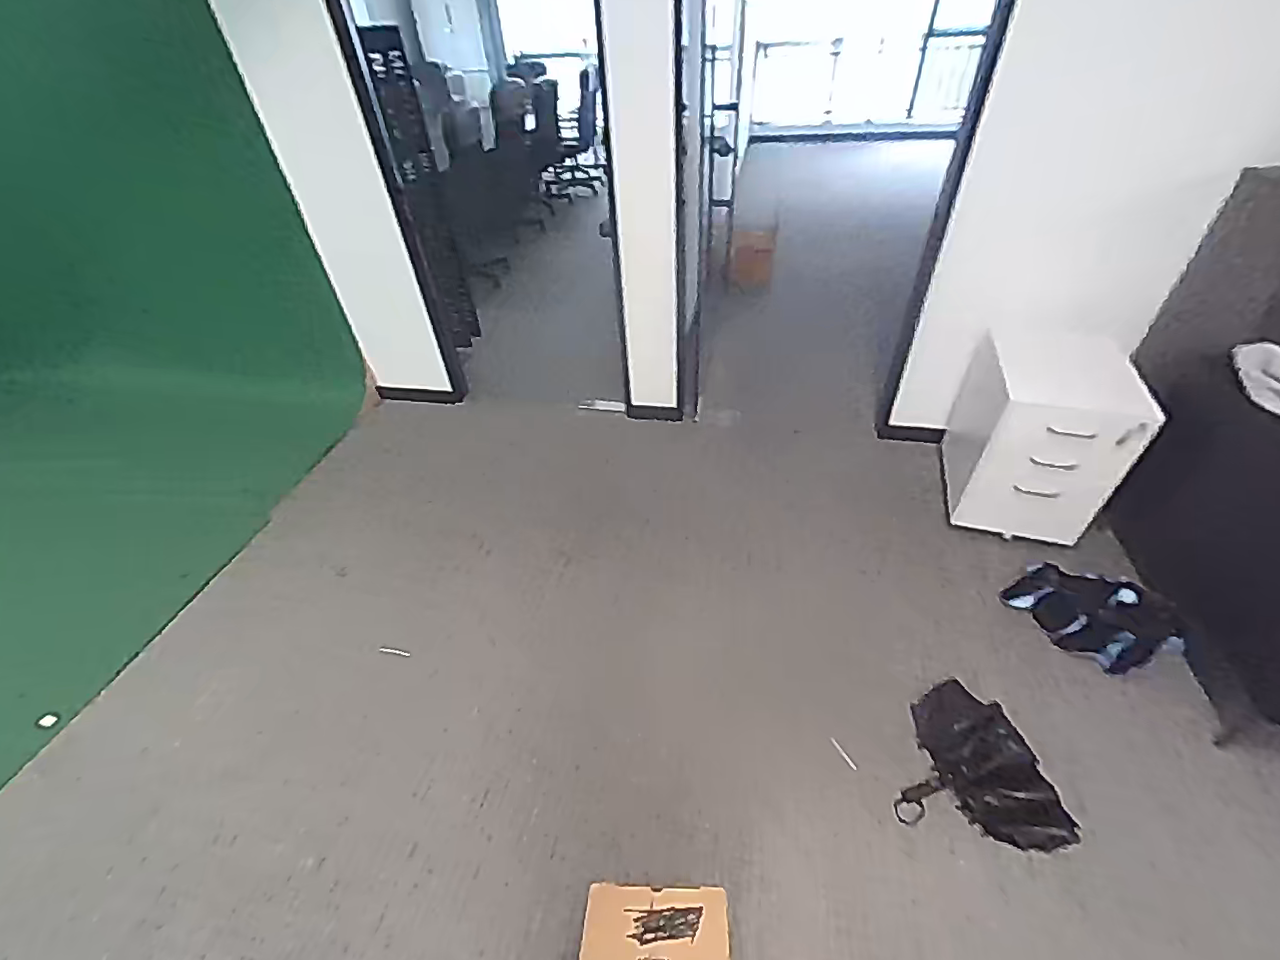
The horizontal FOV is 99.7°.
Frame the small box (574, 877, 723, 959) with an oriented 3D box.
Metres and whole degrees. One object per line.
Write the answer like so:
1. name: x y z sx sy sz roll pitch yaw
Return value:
1. small box: 0.014 0.599 0.618 0.168 0.176 0.179 -3 25 5
